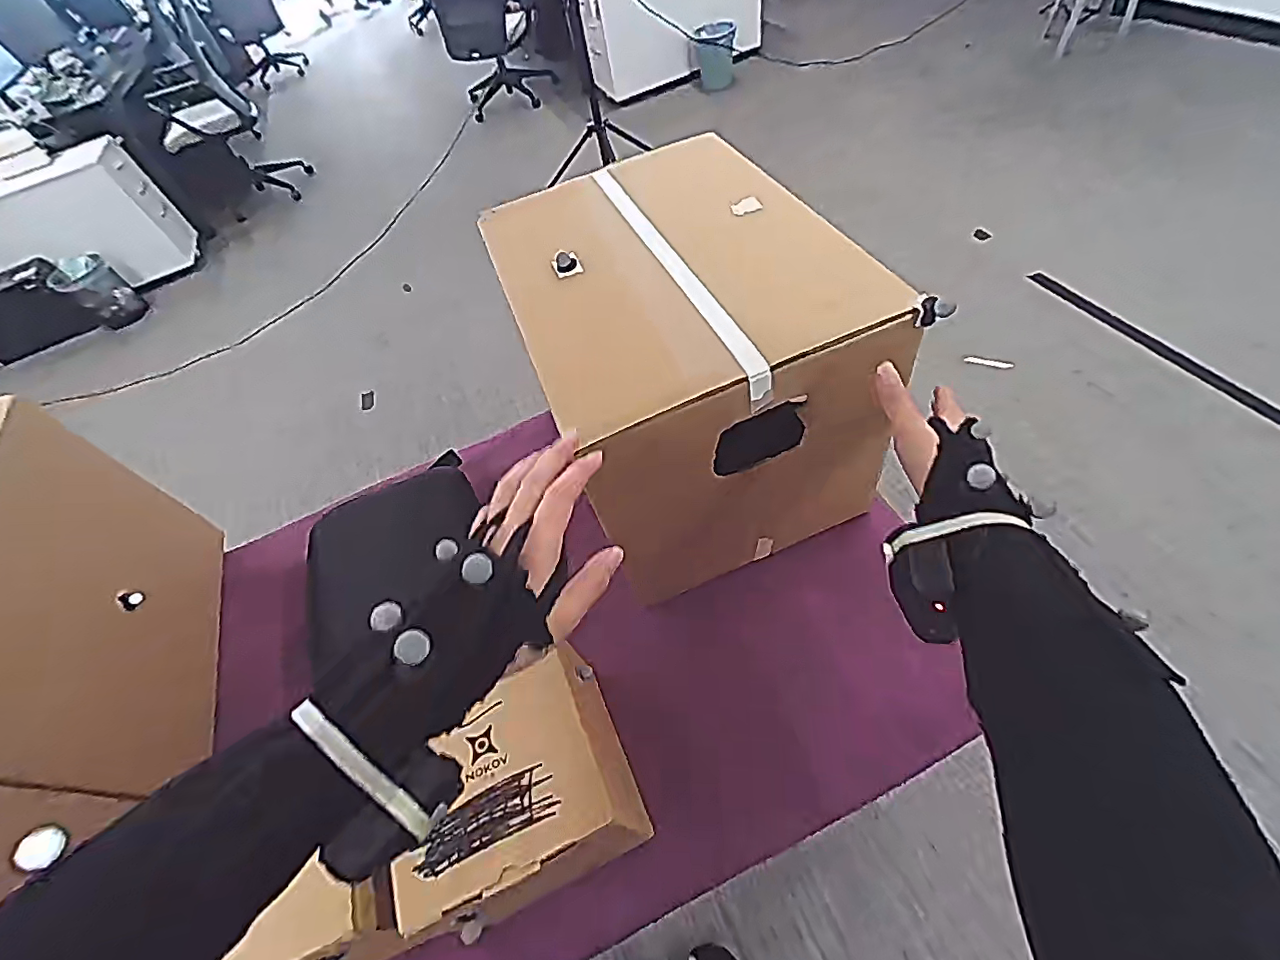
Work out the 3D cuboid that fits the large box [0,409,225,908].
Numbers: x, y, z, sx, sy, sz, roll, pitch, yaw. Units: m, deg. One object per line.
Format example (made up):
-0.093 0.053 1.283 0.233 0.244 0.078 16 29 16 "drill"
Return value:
-0.717 0.203 0.588 0.320 0.320 0.408 -25 56 -8 "large box"
